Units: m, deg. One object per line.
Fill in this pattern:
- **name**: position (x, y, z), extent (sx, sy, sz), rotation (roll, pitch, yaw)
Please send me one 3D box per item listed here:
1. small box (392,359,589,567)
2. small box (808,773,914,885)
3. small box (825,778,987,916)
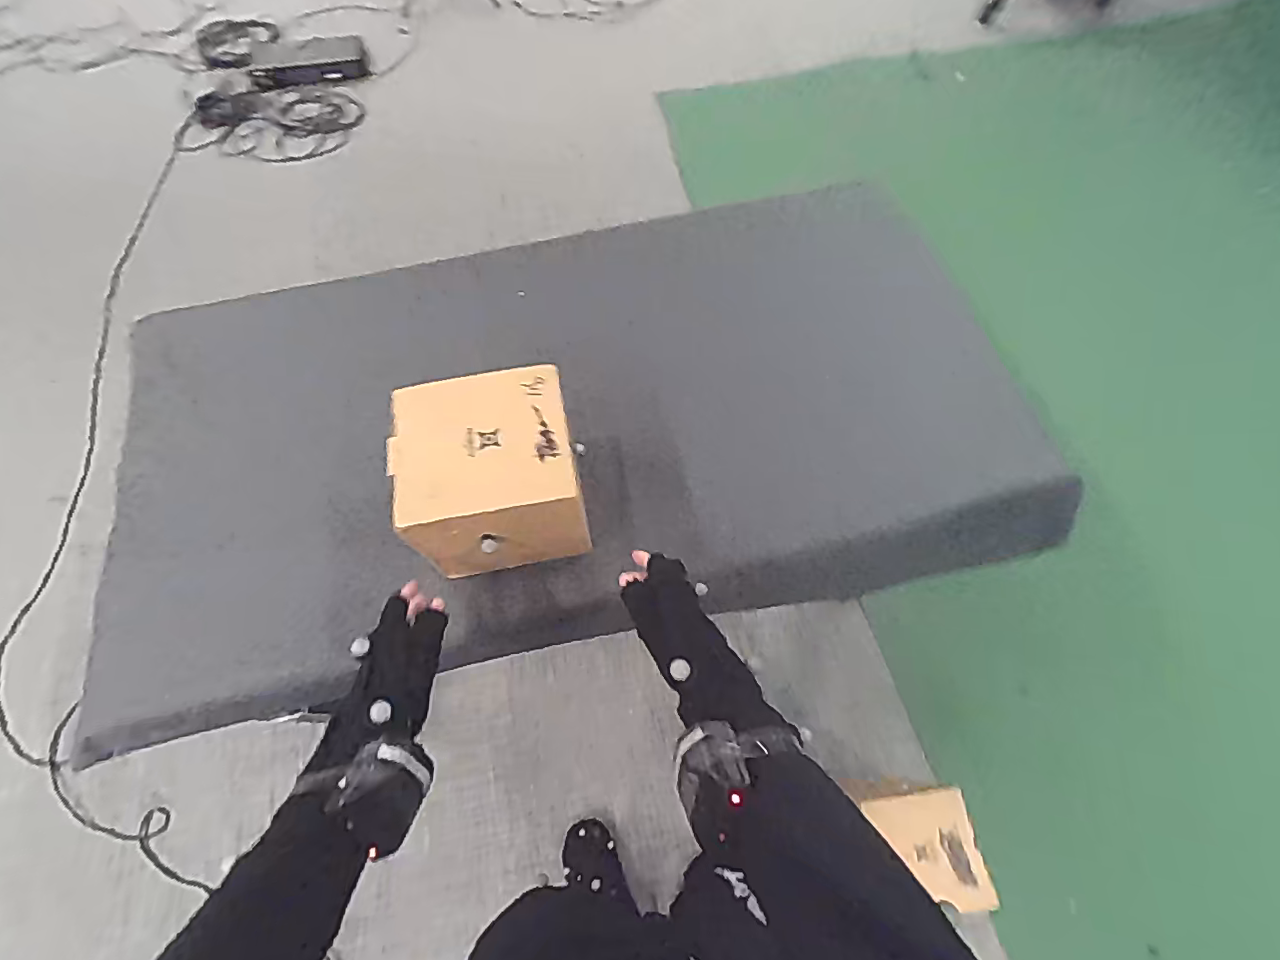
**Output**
- **small box**: position (-0.162, -0.011, 0.621), extent (0.179, 0.176, 0.168), rotation (-10, 65, -5)
- **small box**: position (0.462, 0.698, 1.095), extent (0.179, 0.176, 0.168), rotation (-6, 64, -1)
- **small box**: position (0.450, 0.628, 0.946), extent (0.179, 0.176, 0.168), rotation (-7, 64, -2)
